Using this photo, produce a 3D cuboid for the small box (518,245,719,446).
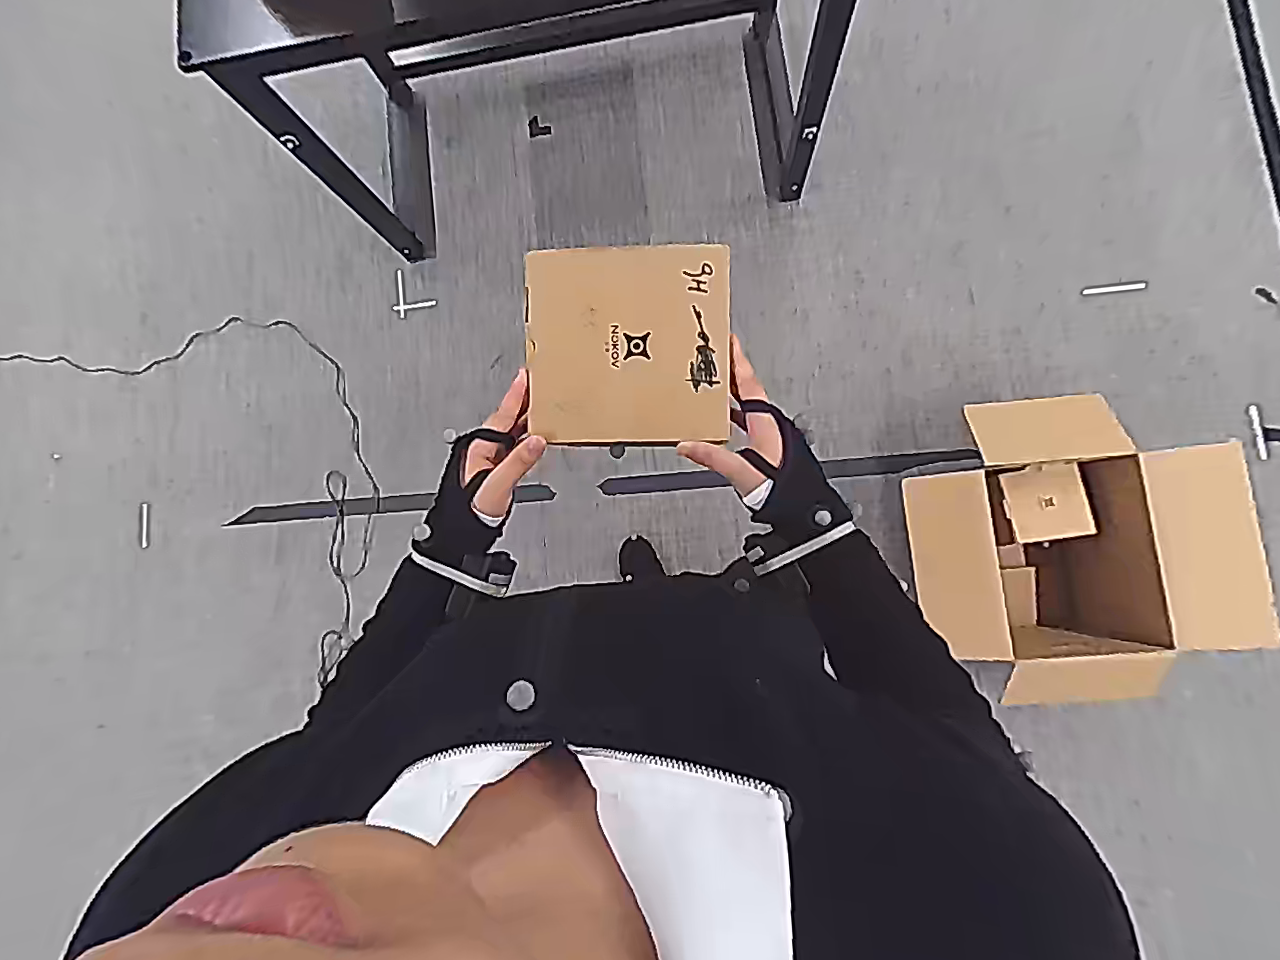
[{"bbox_3d":[-0.013,-0.120,0.545,0.179,0.176,0.168,0,92,4],"label":"small box"}]
